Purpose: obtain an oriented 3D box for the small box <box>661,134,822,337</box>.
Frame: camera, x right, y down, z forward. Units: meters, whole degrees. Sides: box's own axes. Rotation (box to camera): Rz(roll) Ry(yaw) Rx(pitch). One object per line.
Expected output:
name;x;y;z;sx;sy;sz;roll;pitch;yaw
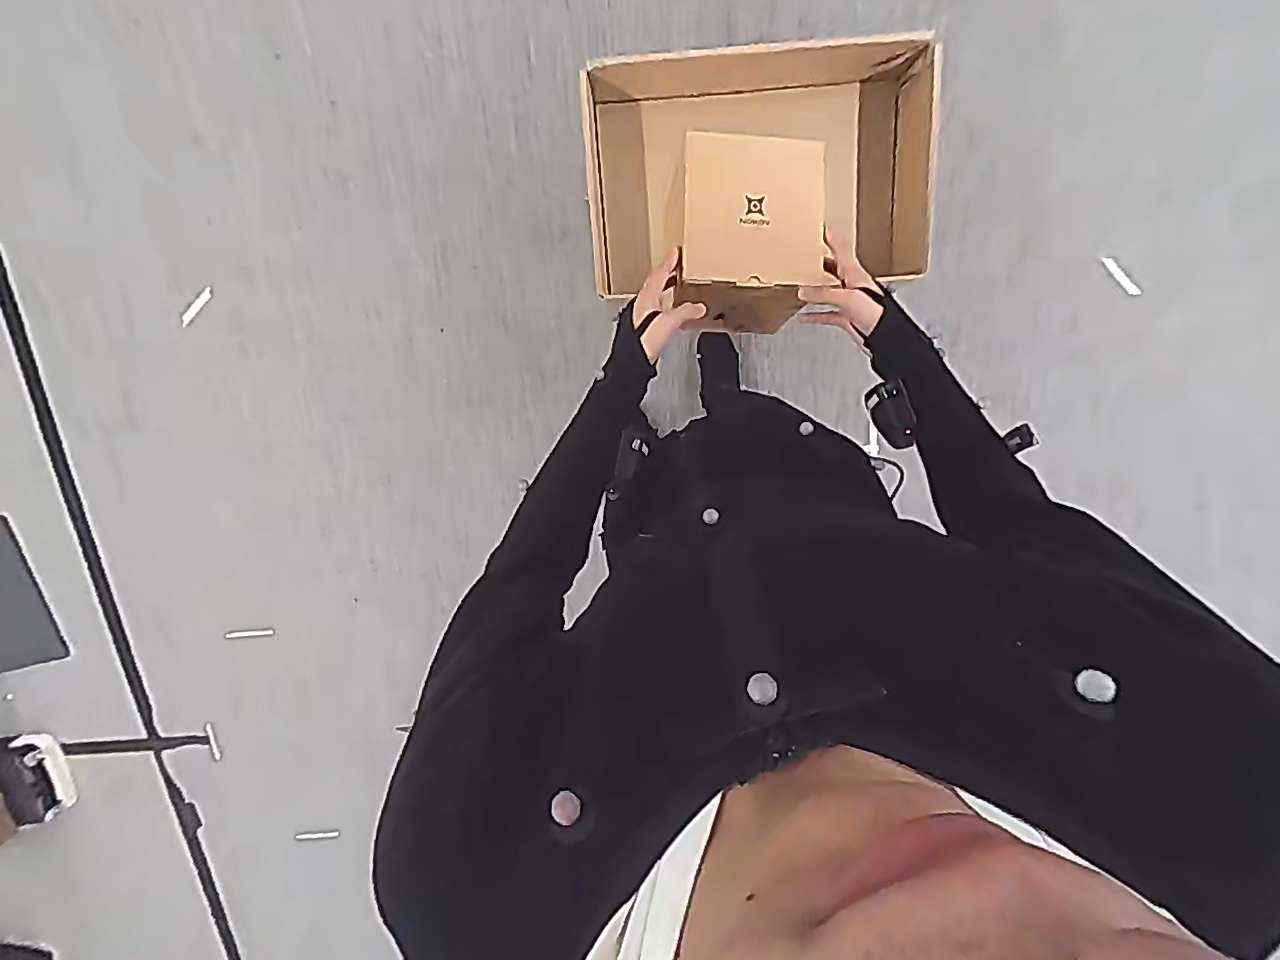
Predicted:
small box;0.119;-0.299;0.694;0.168;0.176;0.179;1;86;-6
